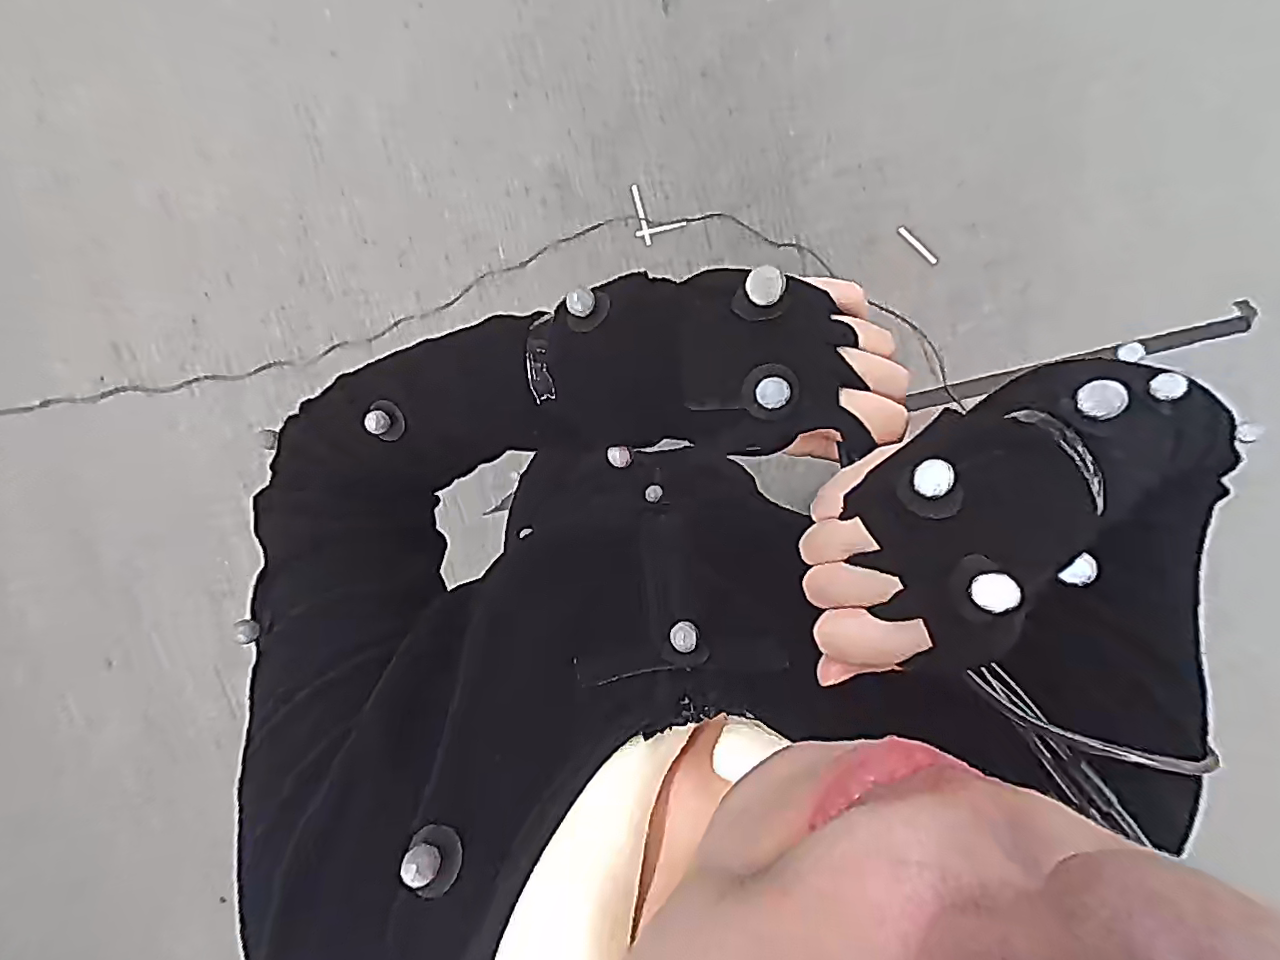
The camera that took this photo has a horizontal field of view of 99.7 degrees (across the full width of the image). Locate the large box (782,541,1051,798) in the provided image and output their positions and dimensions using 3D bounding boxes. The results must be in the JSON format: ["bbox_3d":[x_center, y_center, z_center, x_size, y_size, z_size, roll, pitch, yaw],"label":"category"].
[{"bbox_3d":[0.610,0.411,1.257,0.320,0.320,0.408,-41,99,2],"label":"large box"}]
